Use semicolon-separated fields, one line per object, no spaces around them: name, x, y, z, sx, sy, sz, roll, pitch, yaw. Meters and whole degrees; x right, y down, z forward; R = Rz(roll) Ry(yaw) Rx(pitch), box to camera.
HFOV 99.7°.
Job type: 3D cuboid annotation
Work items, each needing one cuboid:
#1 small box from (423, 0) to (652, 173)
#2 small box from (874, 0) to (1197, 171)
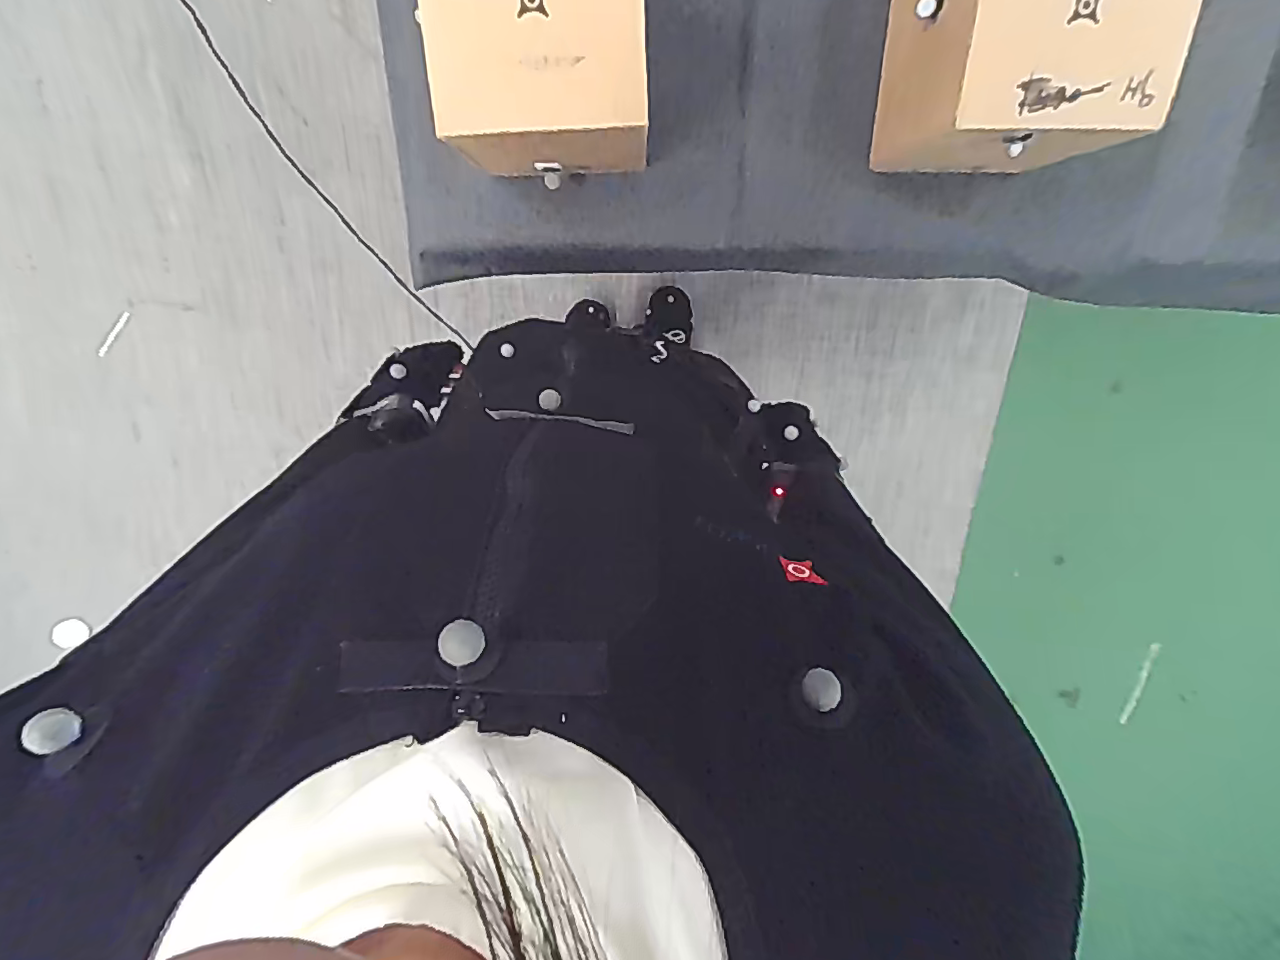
small box;-0.077;-0.382;0.464;0.168;0.176;0.179;-3;110;2
small box;0.323;-0.386;0.466;0.168;0.176;0.179;1;109;0
